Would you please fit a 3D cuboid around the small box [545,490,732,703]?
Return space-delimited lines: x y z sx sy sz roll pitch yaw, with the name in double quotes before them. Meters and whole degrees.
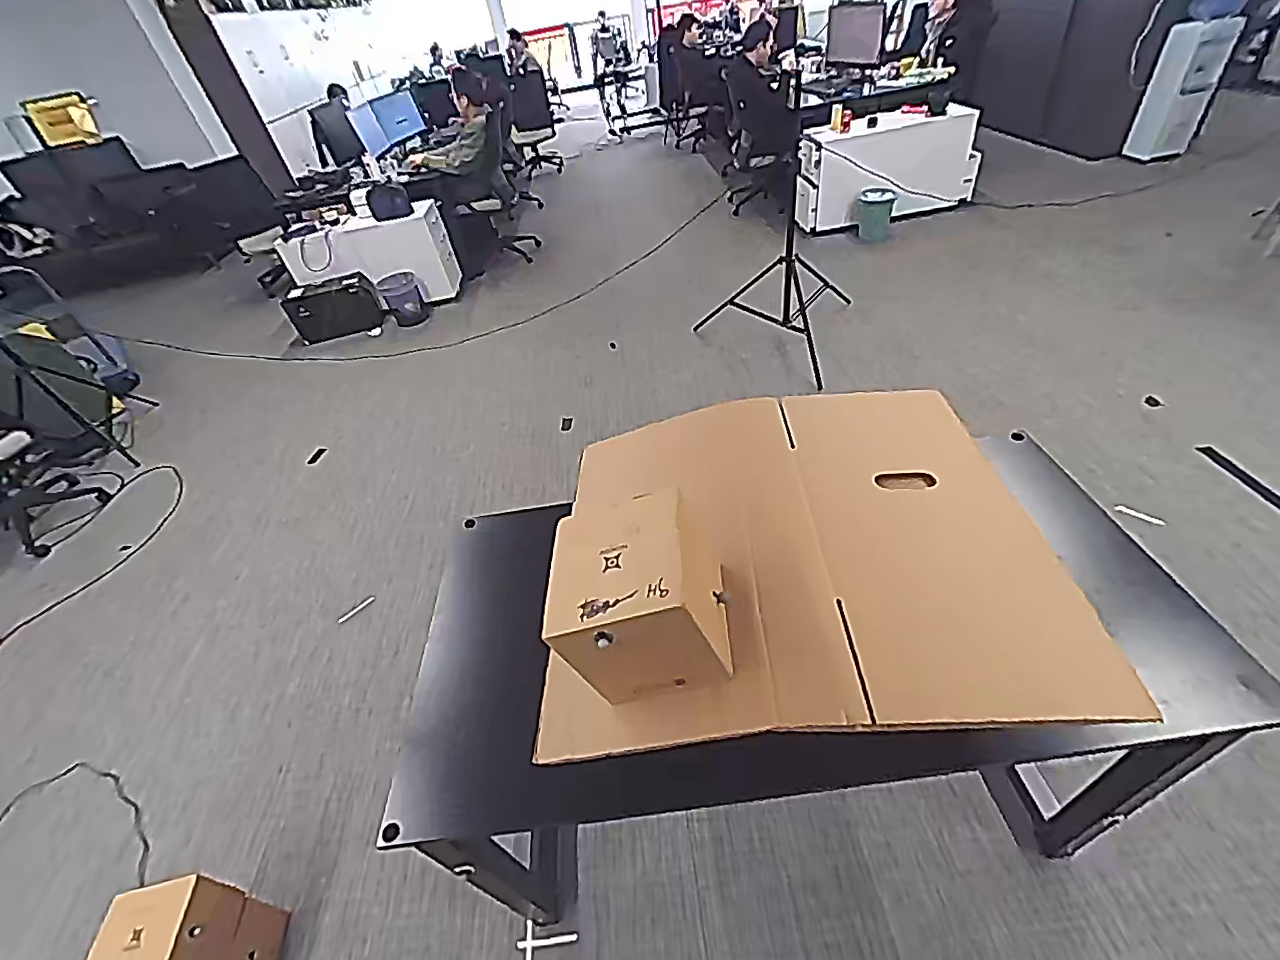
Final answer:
"small box" 0.006 0.146 0.670 0.168 0.176 0.179 -18 39 16

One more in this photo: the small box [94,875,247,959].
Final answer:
"small box" -0.942 0.937 1.087 0.168 0.176 0.179 -13 40 -4

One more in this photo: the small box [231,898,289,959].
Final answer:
"small box" -0.916 1.060 1.191 0.168 0.176 0.179 -12 42 0
